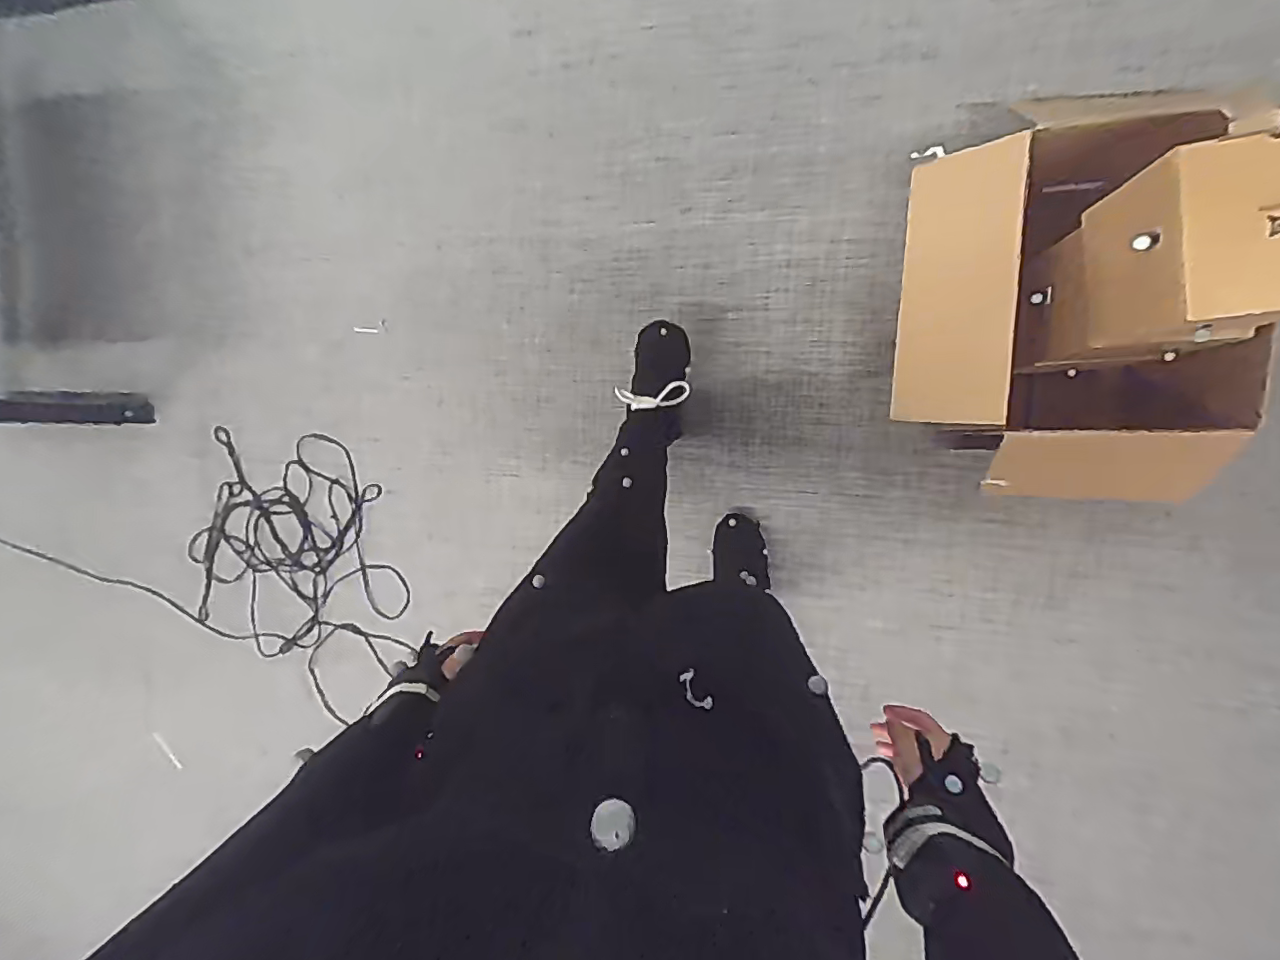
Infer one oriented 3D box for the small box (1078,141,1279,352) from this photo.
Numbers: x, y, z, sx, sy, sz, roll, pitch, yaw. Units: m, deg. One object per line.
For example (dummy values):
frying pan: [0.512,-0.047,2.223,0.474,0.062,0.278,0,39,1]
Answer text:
small box: [0.637,-0.248,0.612,0.168,0.176,0.179,-5,91,13]
